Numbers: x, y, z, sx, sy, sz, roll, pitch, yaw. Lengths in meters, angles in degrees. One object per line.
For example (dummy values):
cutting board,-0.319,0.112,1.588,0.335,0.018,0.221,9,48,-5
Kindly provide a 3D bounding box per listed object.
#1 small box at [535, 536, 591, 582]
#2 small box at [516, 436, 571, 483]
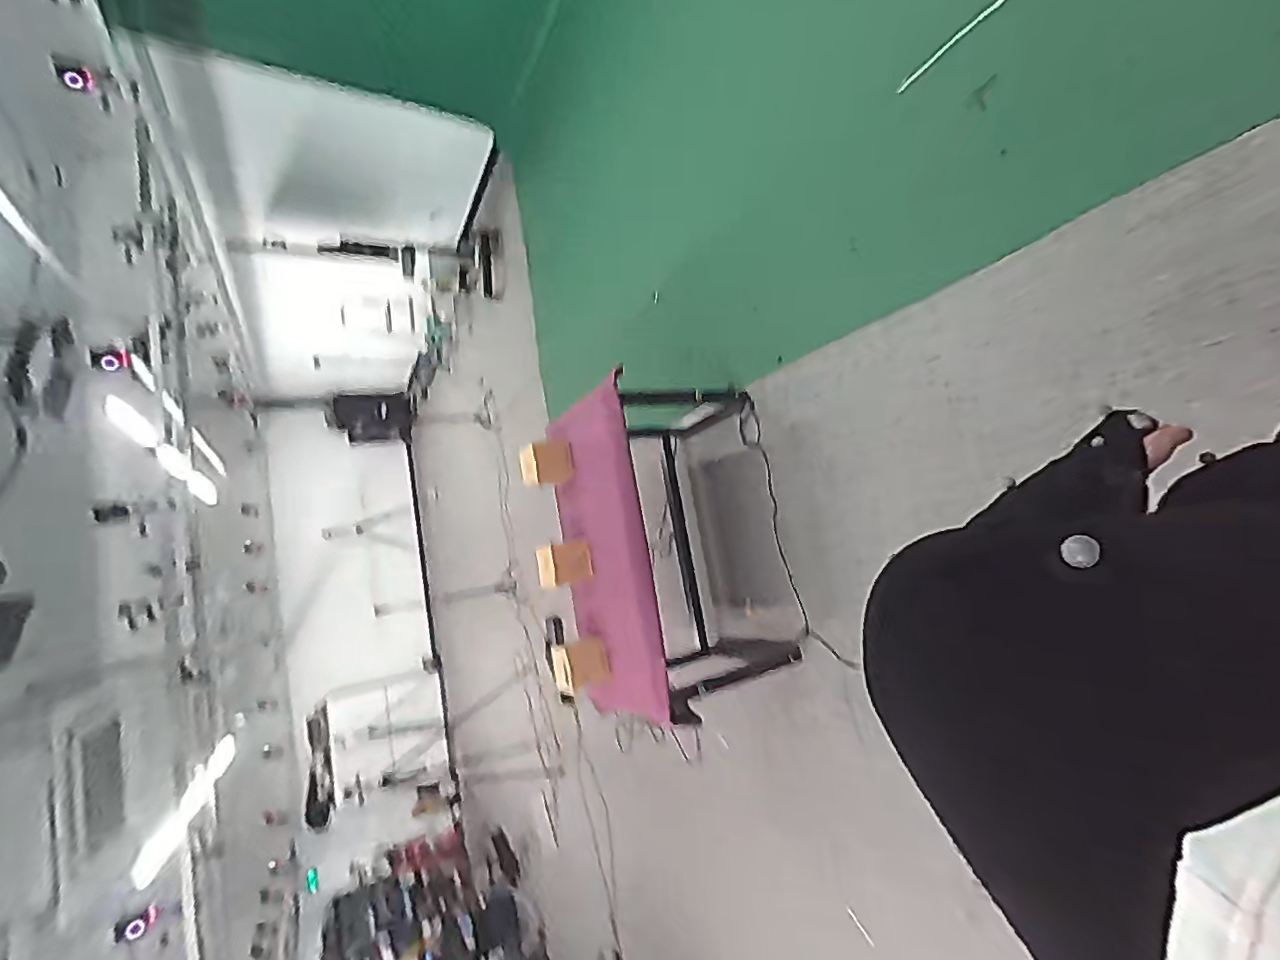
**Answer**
small box,-0.320,0.328,2.243,0.179,0.176,0.168,-19,79,57
small box,-0.412,-0.086,2.305,0.179,0.176,0.168,-18,83,58
